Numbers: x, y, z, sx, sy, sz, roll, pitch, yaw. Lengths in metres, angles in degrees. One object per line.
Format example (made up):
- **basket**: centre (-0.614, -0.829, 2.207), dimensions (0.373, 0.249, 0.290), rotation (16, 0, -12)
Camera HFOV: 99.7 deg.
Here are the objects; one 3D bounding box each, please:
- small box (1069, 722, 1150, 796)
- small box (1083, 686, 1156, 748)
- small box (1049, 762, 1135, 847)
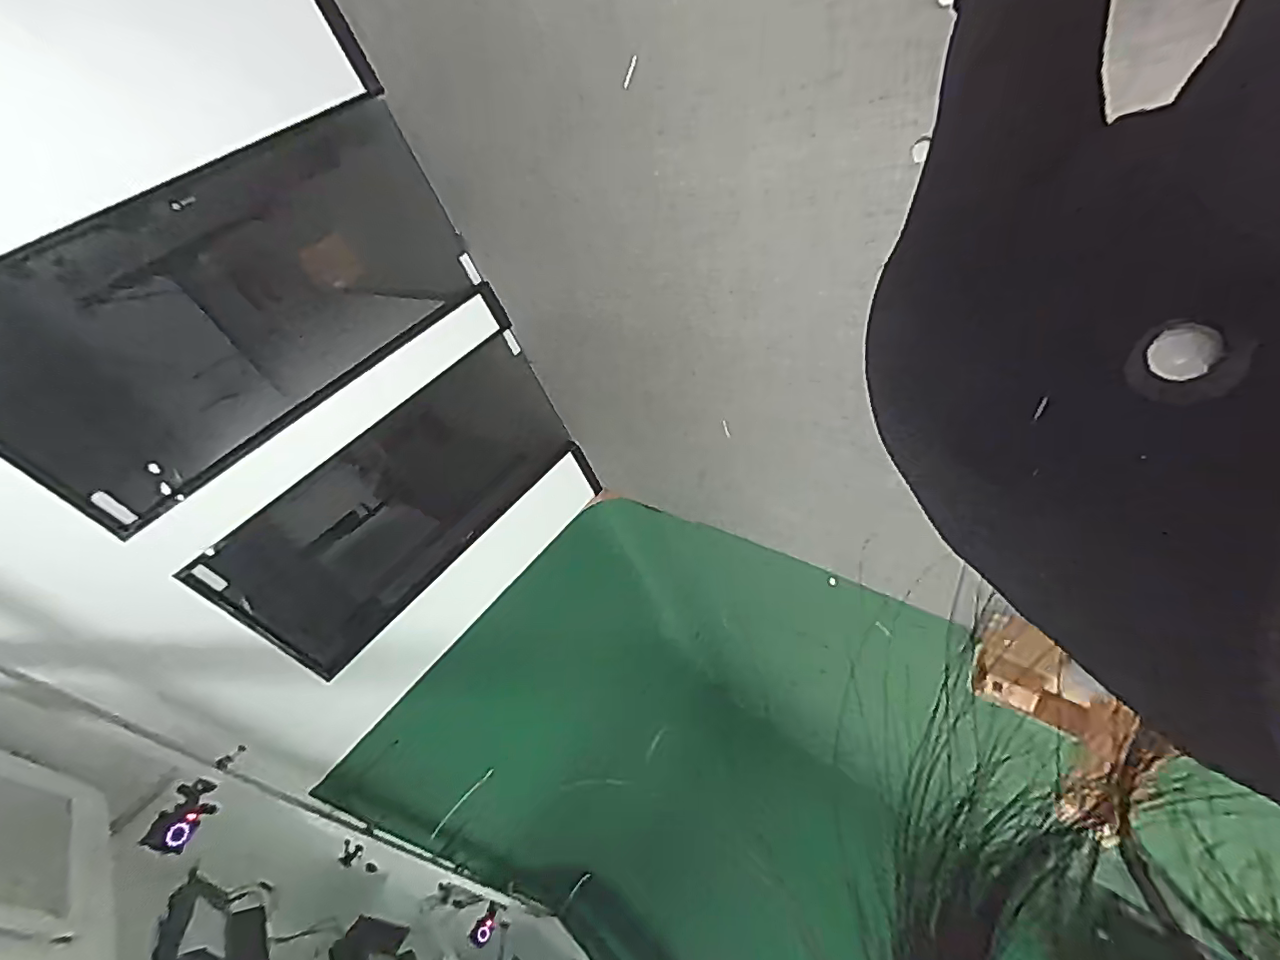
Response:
- **small box**: centre (1.663, 1.000, 1.919), dimensions (0.179, 0.176, 0.168), rotation (23, 148, 40)
- **small box**: centre (1.767, 0.899, 1.997), dimensions (0.168, 0.176, 0.179), rotation (22, 147, 41)
- **small box**: centre (1.550, 1.103, 1.857), dimensions (0.179, 0.176, 0.168), rotation (22, 148, 40)
